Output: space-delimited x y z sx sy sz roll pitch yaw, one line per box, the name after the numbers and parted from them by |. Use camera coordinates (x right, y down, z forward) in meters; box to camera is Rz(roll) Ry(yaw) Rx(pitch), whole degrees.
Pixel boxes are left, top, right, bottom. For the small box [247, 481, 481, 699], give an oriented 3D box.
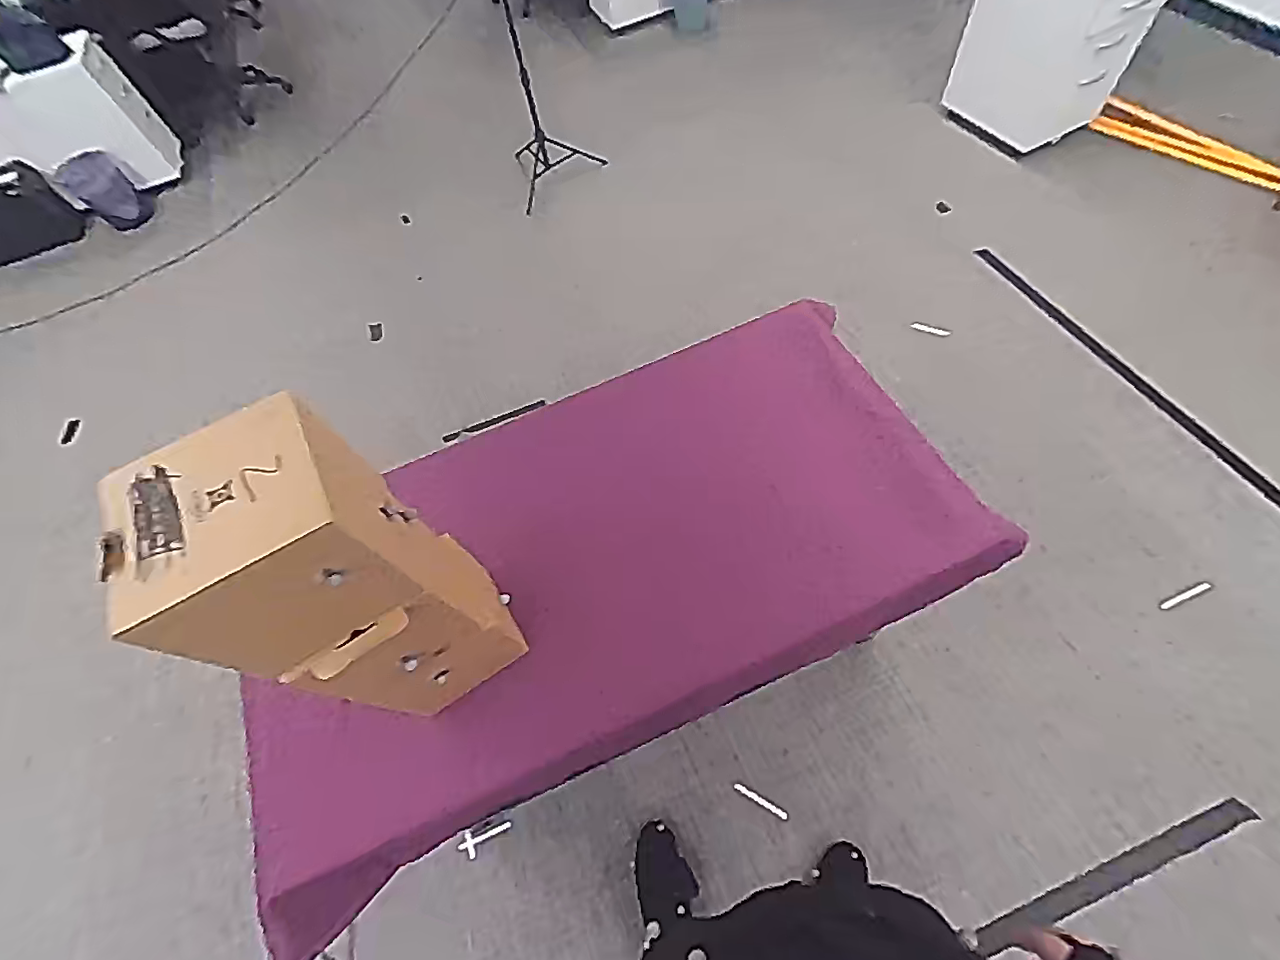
-0.325 0.141 0.661 0.168 0.176 0.179 -34 63 -11 | small box

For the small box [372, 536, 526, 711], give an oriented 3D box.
-0.297 0.220 0.803 0.179 0.176 0.168 -32 63 -11 | small box
